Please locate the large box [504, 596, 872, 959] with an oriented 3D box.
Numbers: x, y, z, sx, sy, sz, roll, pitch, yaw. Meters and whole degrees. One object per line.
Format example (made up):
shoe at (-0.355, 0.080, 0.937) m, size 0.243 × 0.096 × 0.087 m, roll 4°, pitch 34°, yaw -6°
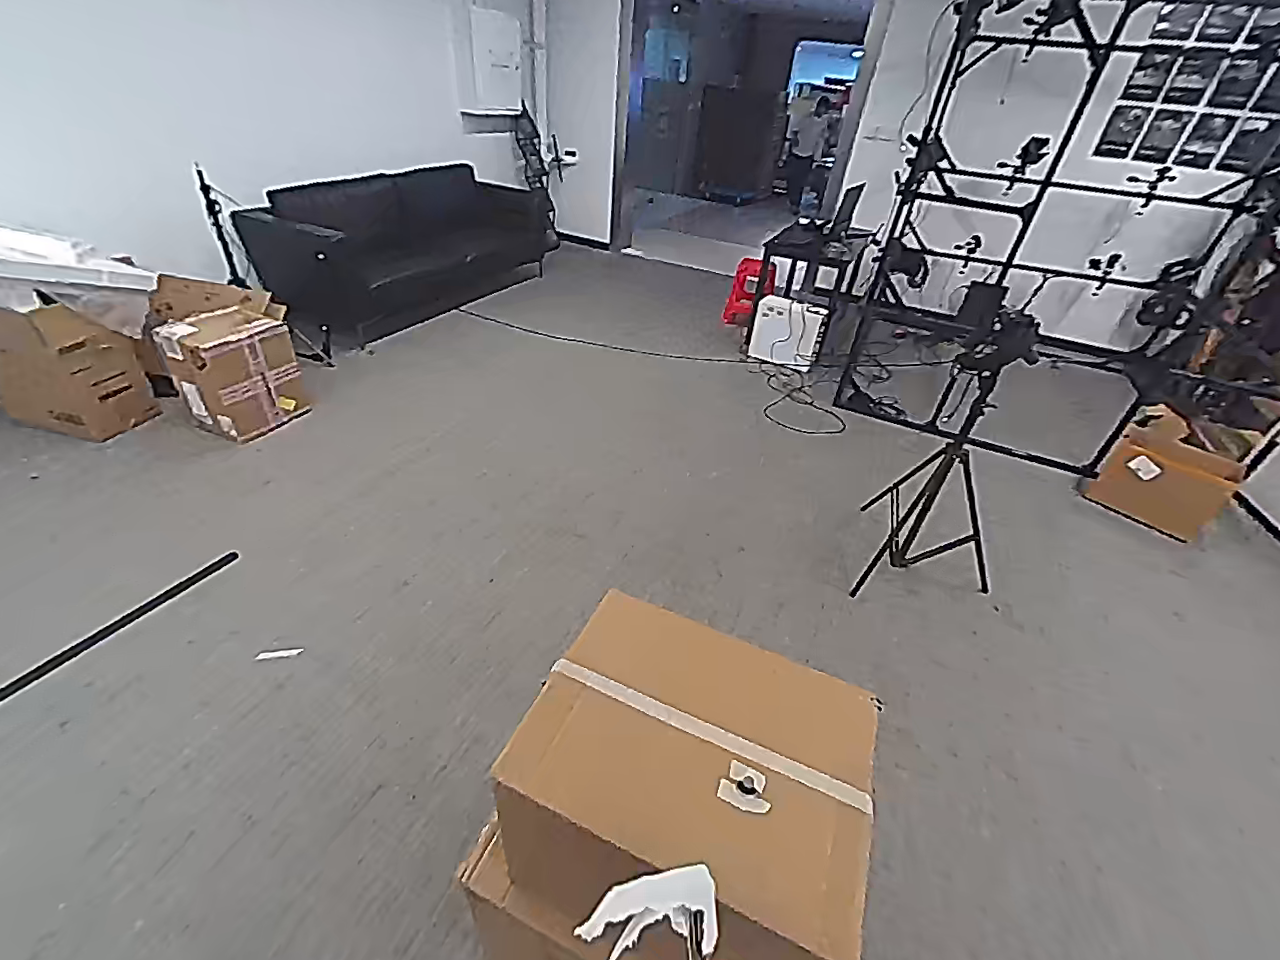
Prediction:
large box at (0.065, 0.435, 0.767) m, size 0.408 × 0.320 × 0.320 m, roll 18°, pitch 38°, yaw 16°
